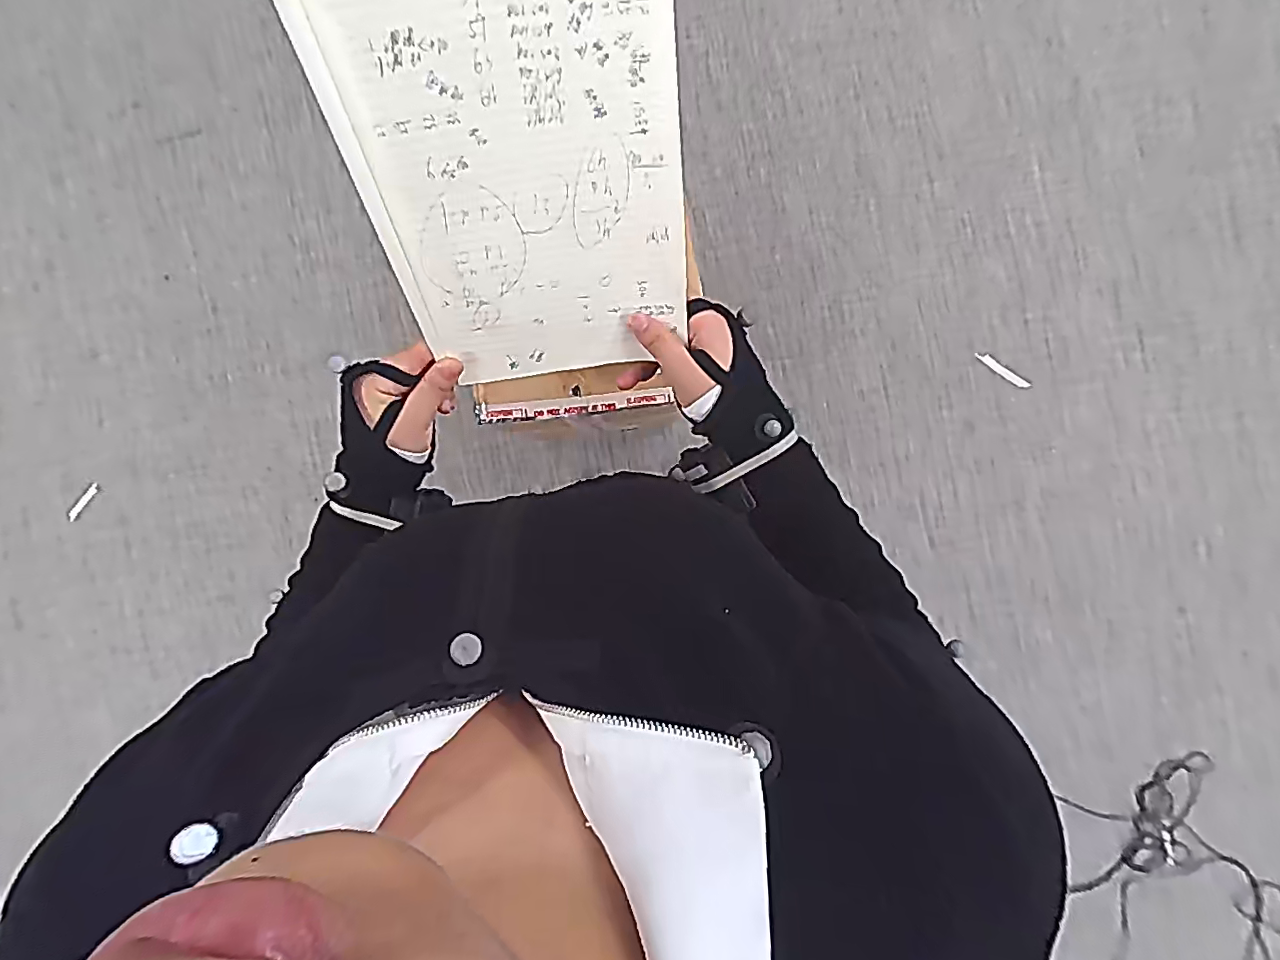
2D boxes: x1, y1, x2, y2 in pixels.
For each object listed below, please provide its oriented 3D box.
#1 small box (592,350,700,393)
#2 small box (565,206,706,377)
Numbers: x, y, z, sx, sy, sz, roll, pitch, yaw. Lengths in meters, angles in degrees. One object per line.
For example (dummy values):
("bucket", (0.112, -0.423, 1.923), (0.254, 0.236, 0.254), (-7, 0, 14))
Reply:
("small box", (-0.004, -0.256, 0.946), (0.179, 0.176, 0.168), (-12, 91, 1))
("small box", (-0.008, -0.261, 0.782), (0.168, 0.176, 0.179), (-10, 91, 0))
